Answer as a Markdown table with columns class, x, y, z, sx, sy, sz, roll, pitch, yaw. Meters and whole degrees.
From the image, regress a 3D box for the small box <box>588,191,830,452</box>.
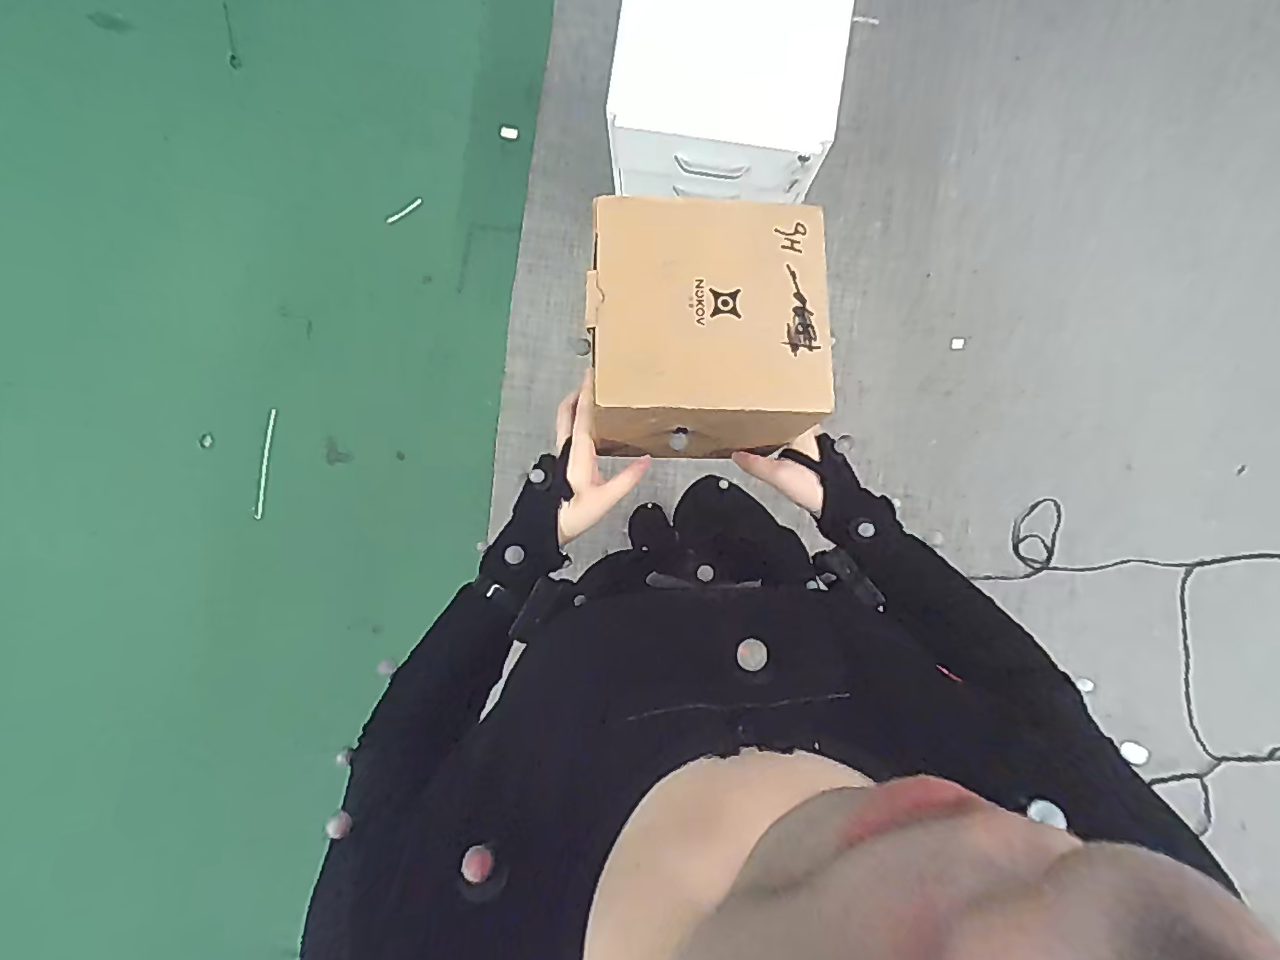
| class | x | y | z | sx | sy | sz | roll | pitch | yaw |
| --- | --- | --- | --- | --- | --- | --- | --- | --- | --- |
| small box | 0.047 | -0.121 | 0.475 | 0.179 | 0.176 | 0.168 | 1 | 81 | -4 |
